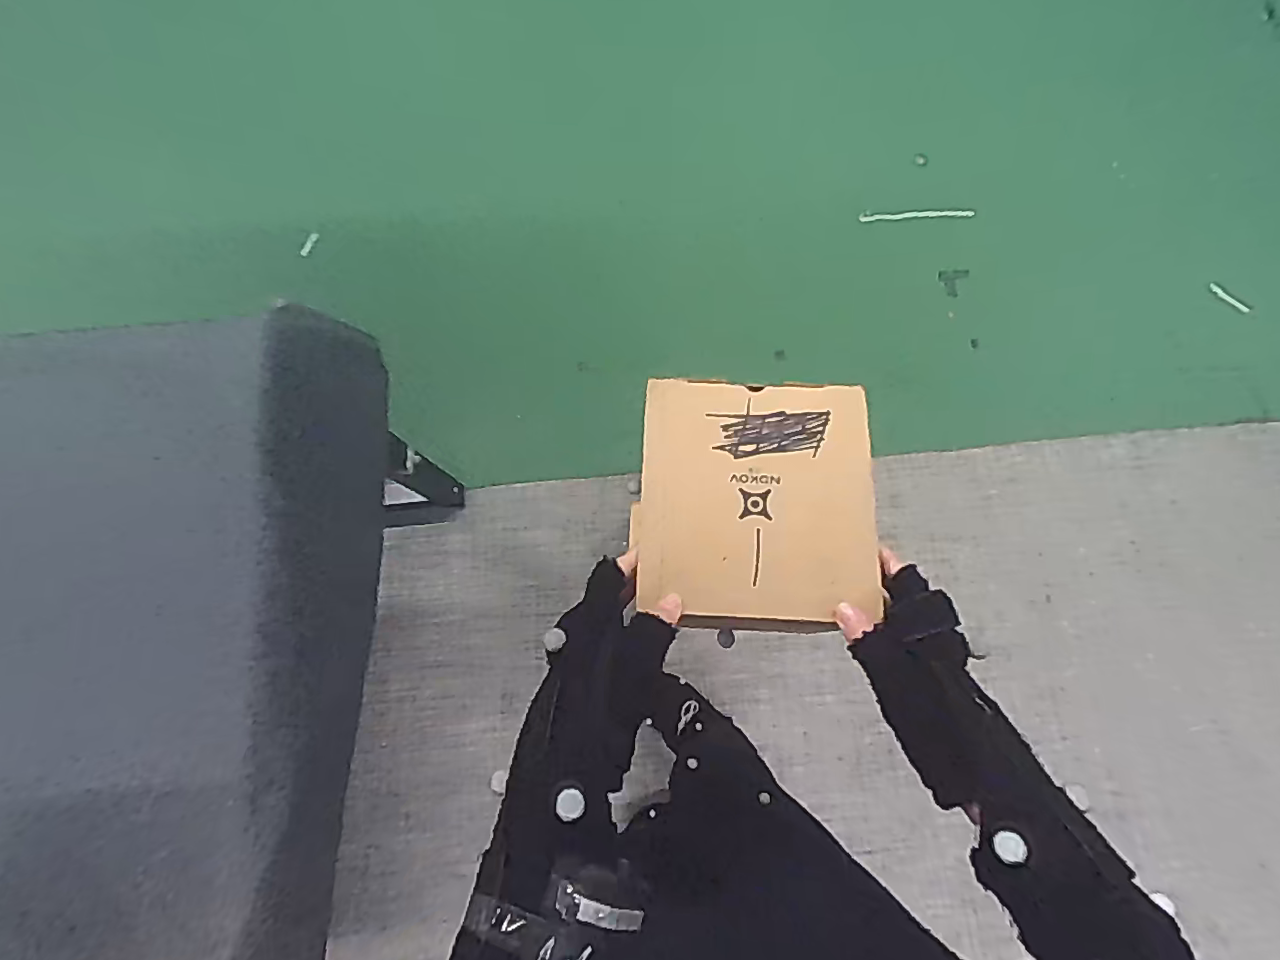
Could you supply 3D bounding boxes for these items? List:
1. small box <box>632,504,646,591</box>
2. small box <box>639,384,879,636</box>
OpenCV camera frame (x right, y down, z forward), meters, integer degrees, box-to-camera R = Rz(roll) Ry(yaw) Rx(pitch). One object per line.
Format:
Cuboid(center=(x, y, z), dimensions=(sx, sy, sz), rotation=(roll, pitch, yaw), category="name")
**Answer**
Cuboid(center=(0.069, 0.154, 1.162), dimensions=(0.168, 0.176, 0.179), rotation=(1, 77, 2), category="small box")
Cuboid(center=(0.087, 0.037, 0.467), dimensions=(0.168, 0.176, 0.179), rotation=(3, 73, 3), category="small box")
